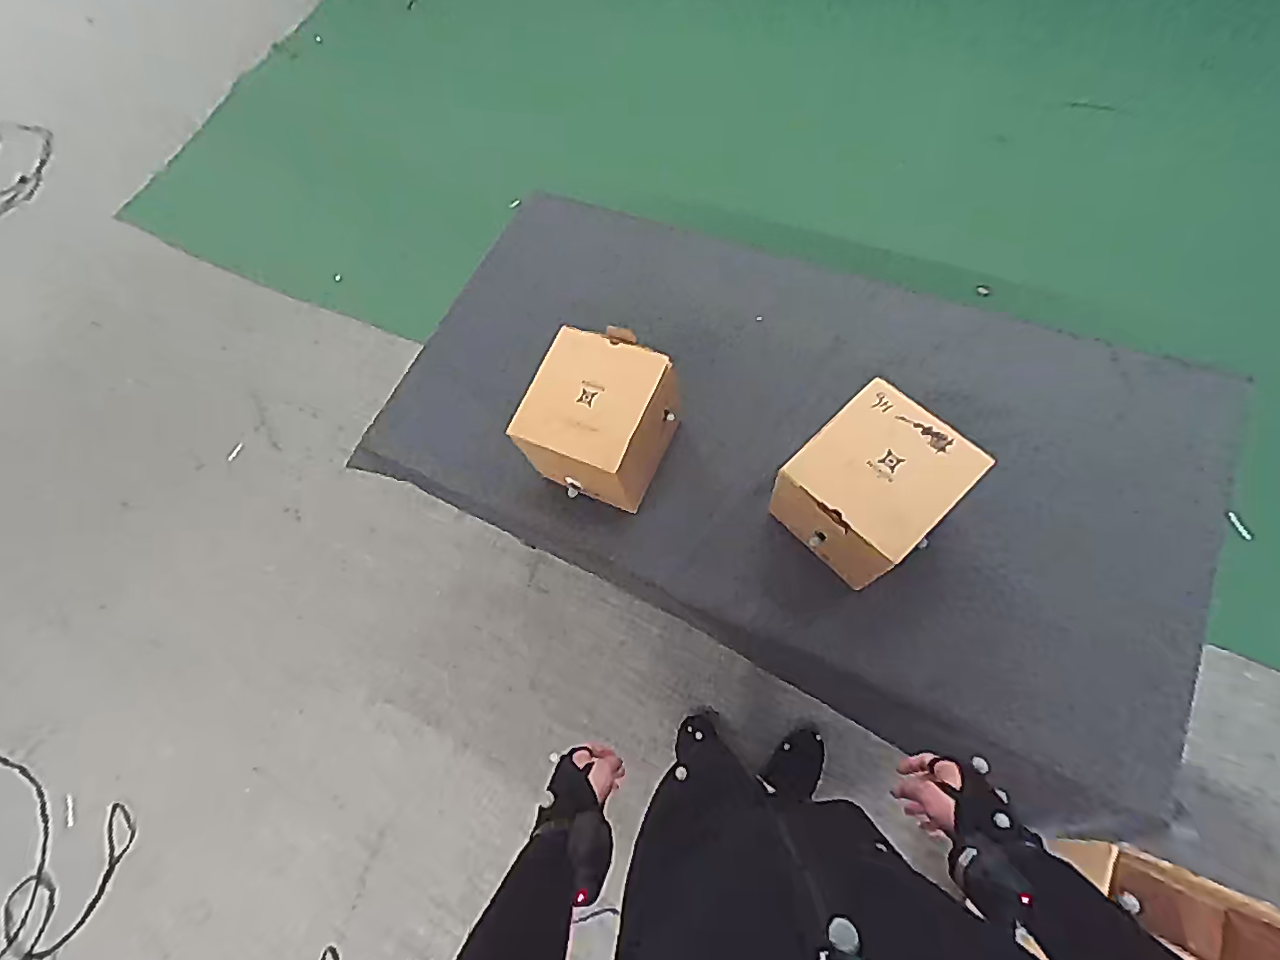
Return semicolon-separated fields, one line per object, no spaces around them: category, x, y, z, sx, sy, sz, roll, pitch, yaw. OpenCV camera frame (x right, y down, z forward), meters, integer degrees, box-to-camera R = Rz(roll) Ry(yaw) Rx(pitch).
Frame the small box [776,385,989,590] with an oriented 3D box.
small box;0.294;0.020;0.701;0.179;0.176;0.168;-42;68;-8

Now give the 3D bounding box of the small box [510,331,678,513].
small box;-0.052;-0.077;0.777;0.168;0.176;0.179;20;73;16
